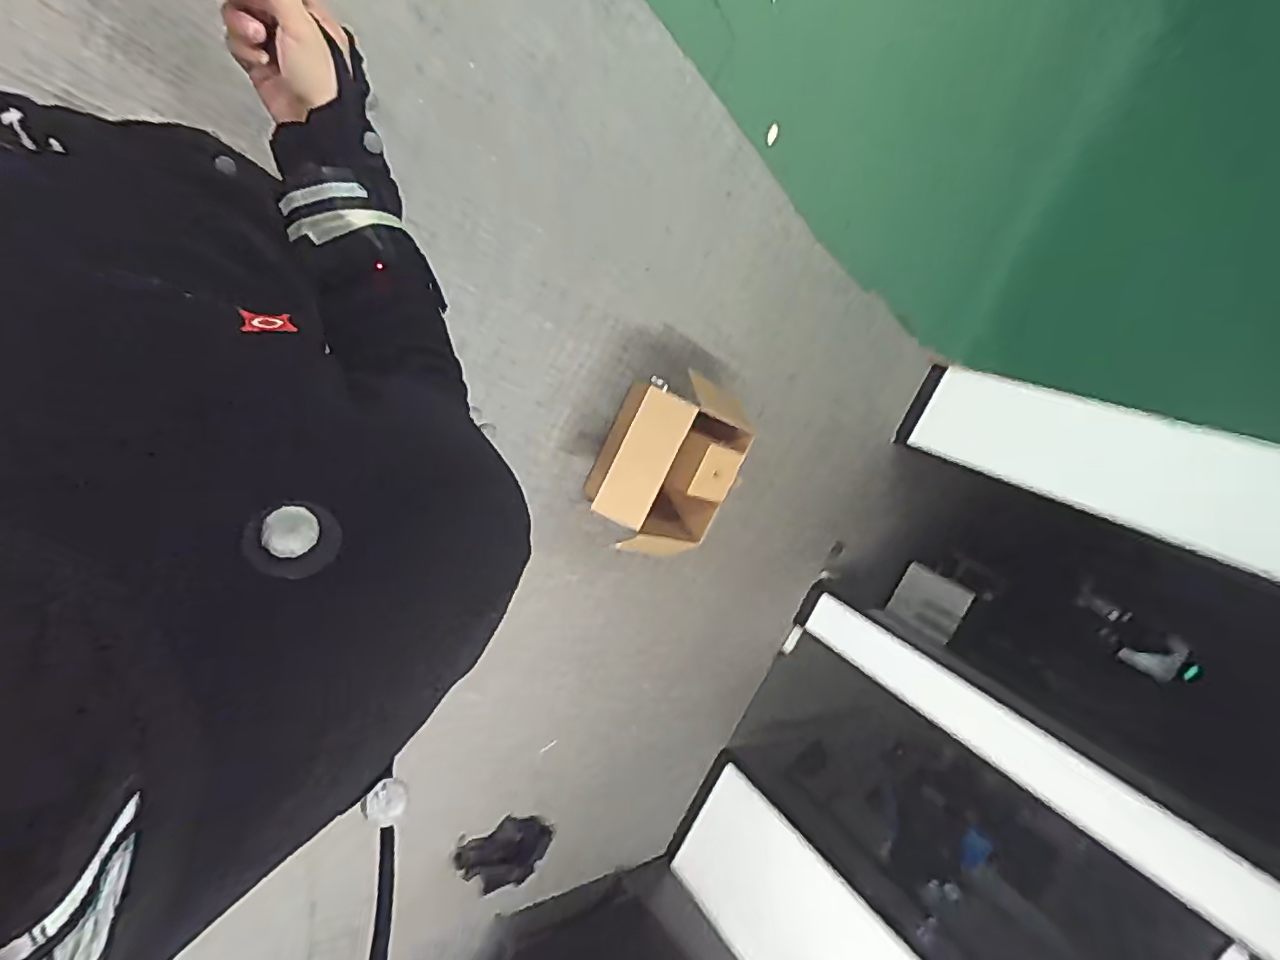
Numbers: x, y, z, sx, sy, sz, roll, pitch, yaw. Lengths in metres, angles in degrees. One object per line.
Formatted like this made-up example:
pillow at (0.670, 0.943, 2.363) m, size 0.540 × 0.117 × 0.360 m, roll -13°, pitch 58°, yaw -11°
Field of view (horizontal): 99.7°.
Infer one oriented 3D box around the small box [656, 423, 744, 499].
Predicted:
small box at (0.183, -0.061, 1.681) m, size 0.179 × 0.176 × 0.168 m, roll 14°, pitch 105°, yaw -43°
